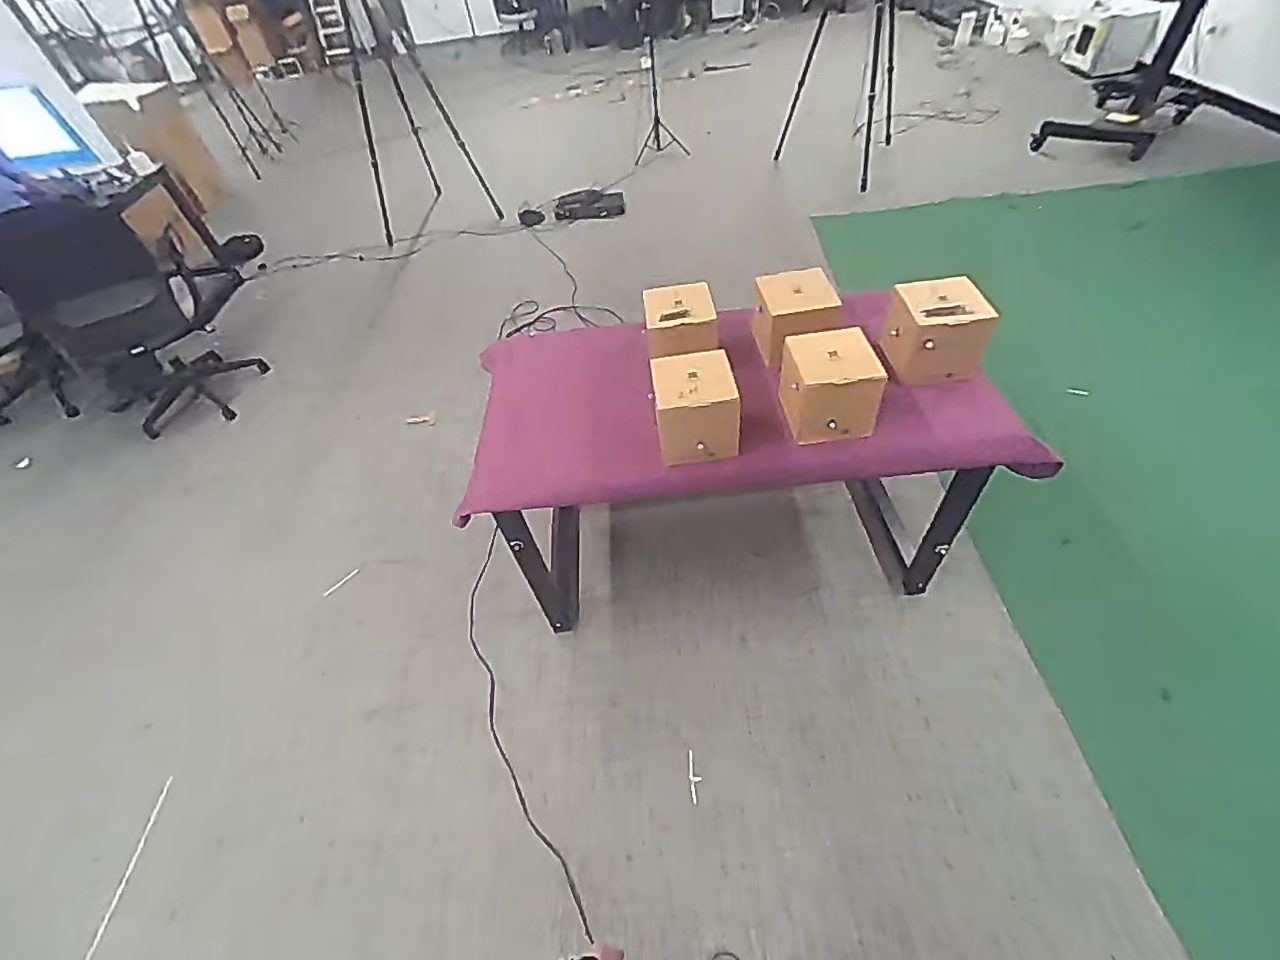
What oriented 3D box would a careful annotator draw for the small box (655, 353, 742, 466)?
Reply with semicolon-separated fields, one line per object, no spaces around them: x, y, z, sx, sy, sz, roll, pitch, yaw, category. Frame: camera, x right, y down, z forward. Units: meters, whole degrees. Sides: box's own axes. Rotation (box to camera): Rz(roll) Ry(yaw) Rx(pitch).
0.125;-0.154;1.190;0.168;0.176;0.179;-7;48;2;small box

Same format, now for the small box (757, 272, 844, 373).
0.394;-0.395;1.364;0.168;0.176;0.179;-8;50;3;small box

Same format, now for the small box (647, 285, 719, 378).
0.110;-0.368;1.378;0.168;0.176;0.179;-6;49;2;small box

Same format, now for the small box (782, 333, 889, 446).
0.418;-0.198;1.191;0.168;0.176;0.179;-6;49;2;small box
